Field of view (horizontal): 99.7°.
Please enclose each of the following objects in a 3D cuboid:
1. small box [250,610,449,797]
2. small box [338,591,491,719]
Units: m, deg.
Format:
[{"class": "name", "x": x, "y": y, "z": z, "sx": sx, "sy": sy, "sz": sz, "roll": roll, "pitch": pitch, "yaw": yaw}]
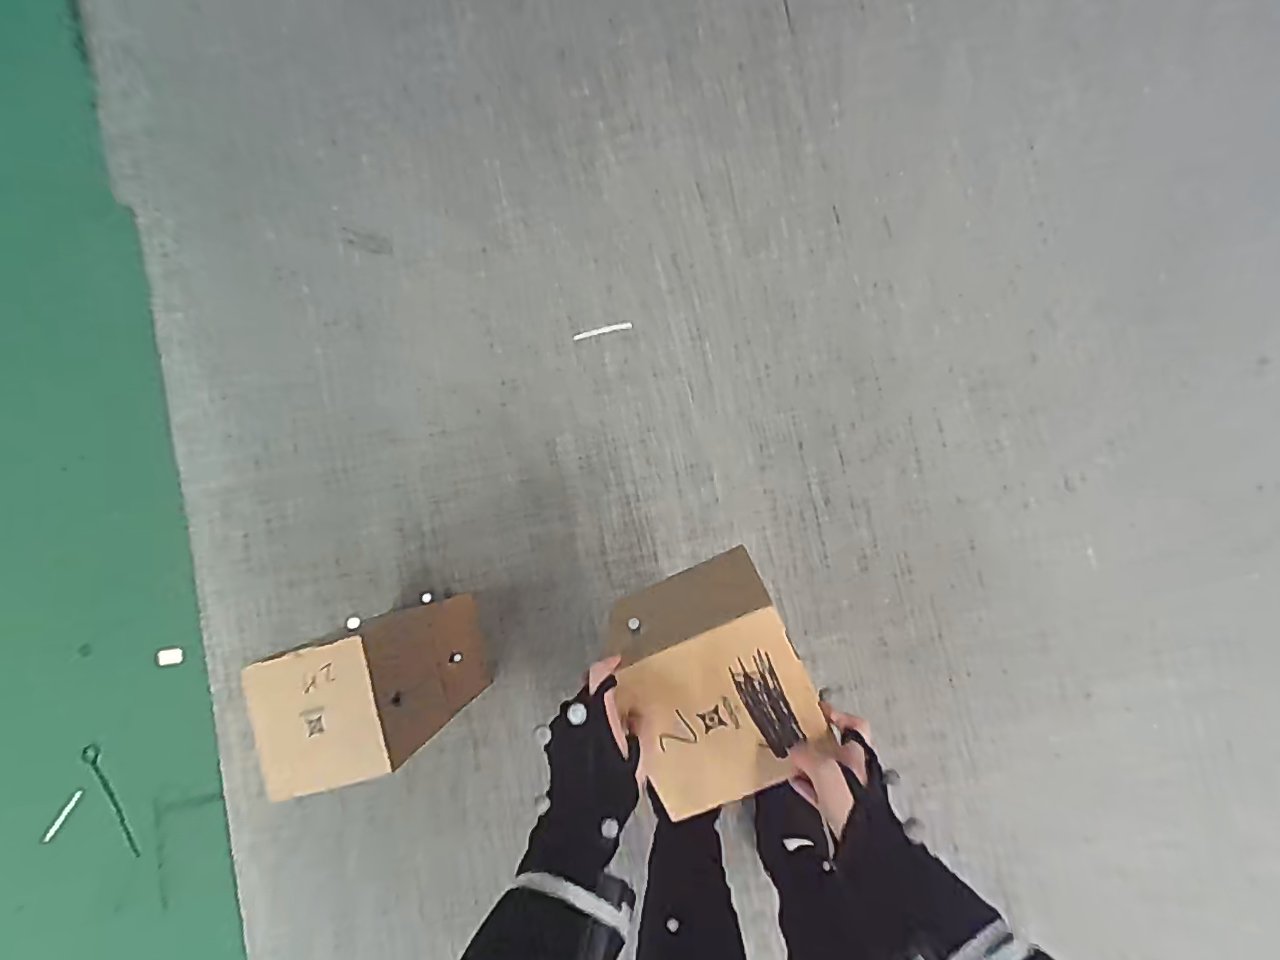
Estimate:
[{"class": "small box", "x": -0.392, "y": 0.300, "z": 0.760, "sx": 0.168, "sy": 0.176, "sz": 0.179, "roll": -16, "pitch": 86, "yaw": 4}, {"class": "small box", "x": -0.373, "y": 0.302, "z": 0.924, "sx": 0.168, "sy": 0.176, "sz": 0.179, "roll": -14, "pitch": 86, "yaw": 5}]
